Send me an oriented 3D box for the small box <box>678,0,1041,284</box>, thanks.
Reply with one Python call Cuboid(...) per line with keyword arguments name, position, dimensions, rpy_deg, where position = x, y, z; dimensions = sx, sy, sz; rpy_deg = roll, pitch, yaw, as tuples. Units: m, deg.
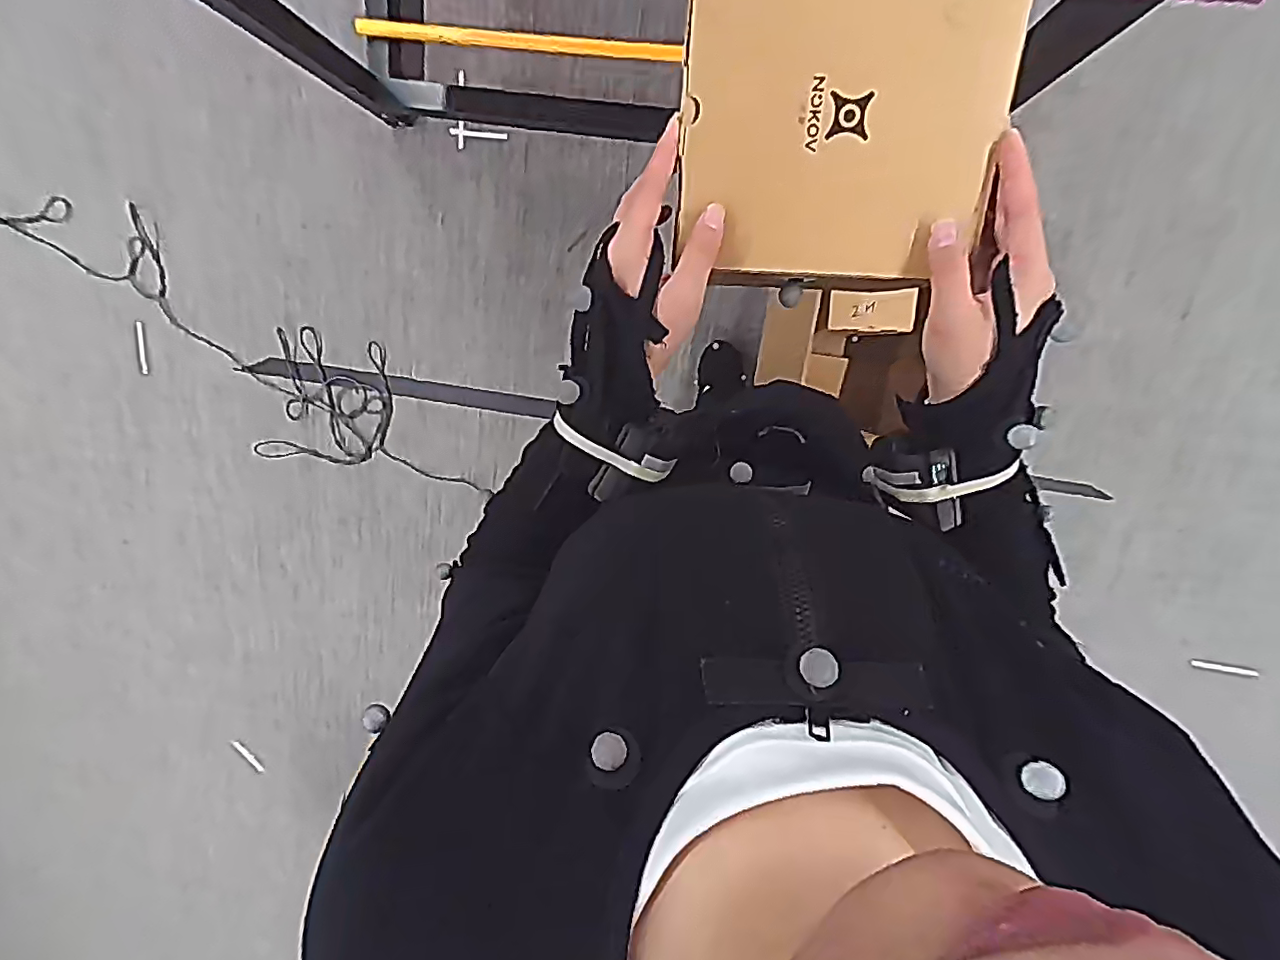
Cuboid(name="small box", position=(0.119, -0.226, 0.369), dimensions=(0.179, 0.176, 0.168), rpy_deg=(4, 108, 4))
